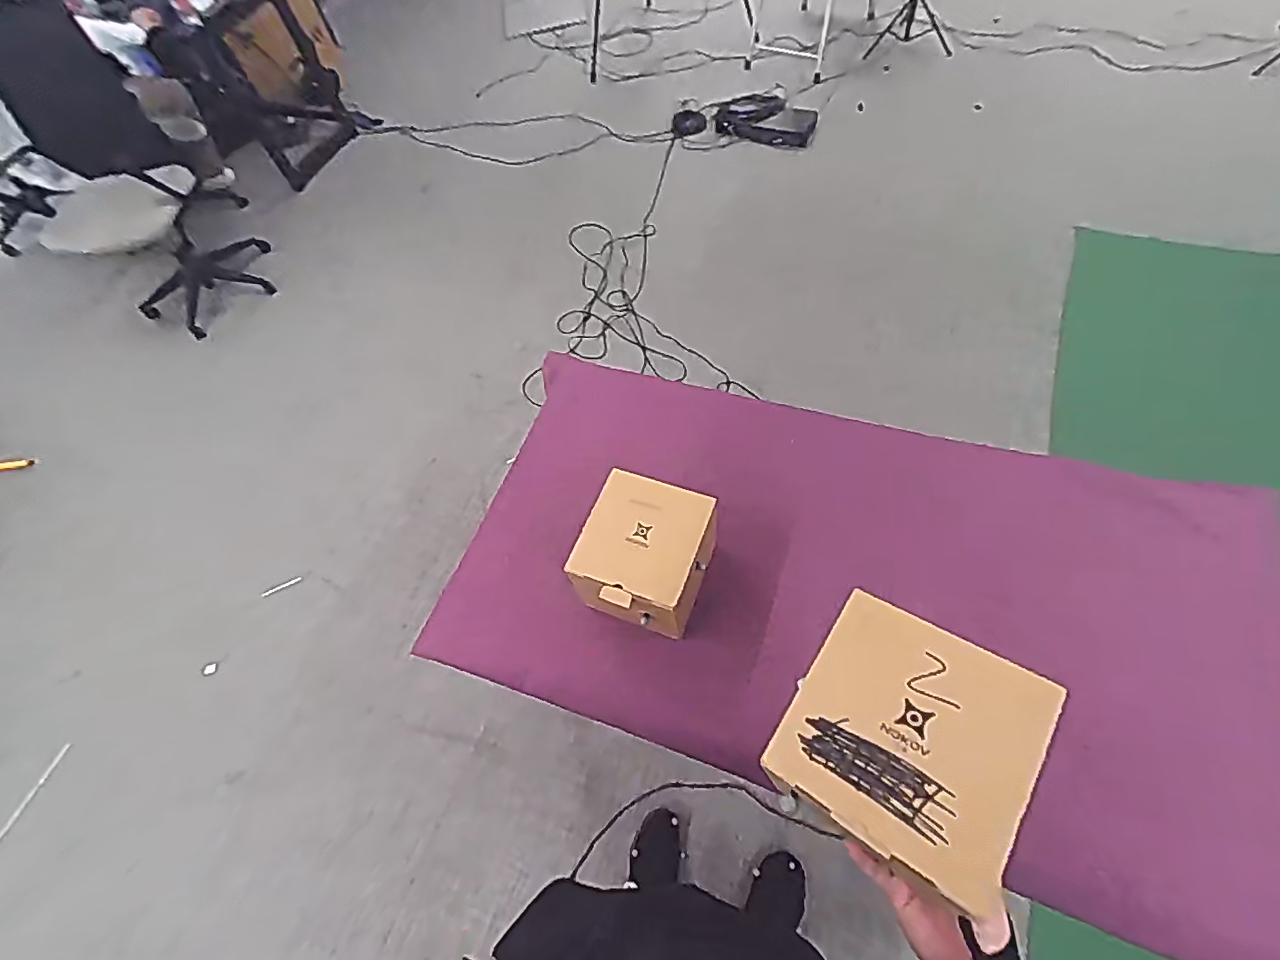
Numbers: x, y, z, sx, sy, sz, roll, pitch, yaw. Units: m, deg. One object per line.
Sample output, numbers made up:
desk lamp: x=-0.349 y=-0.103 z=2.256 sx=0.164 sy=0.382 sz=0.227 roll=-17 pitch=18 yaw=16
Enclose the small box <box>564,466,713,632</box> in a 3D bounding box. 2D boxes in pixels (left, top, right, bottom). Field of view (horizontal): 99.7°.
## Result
small box: x=0.009 y=0.112 z=0.830 sx=0.168 sy=0.176 sz=0.179 roll=18 pitch=64 yaw=16
